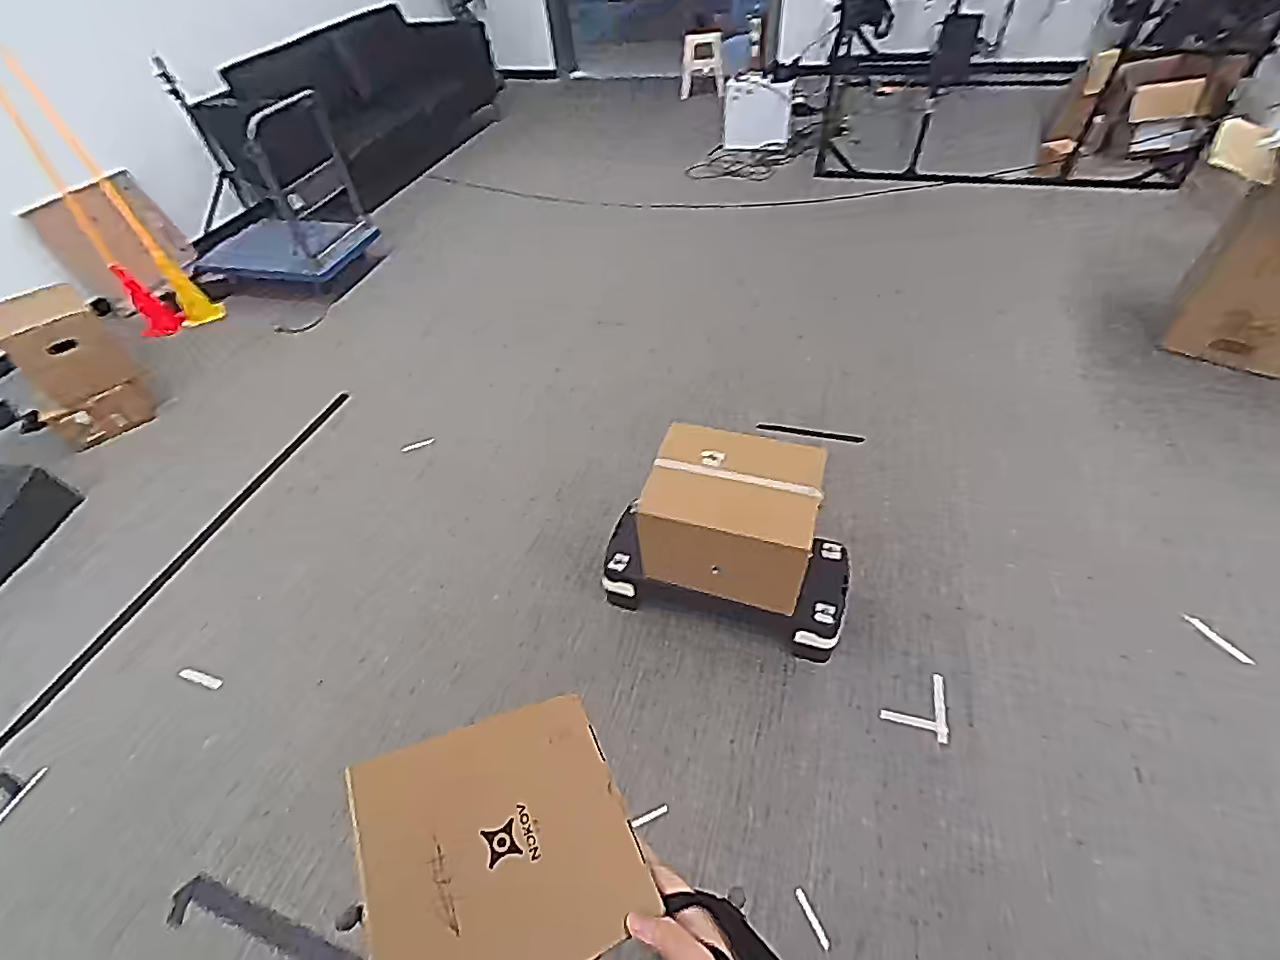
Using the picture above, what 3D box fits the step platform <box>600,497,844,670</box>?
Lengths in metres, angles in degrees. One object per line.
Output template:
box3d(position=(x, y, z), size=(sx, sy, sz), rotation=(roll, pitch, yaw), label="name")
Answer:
box3d(position=(0.228, 0.277, 1.568), size=(0.684, 0.204, 0.286), rotation=(15, 52, 20), label="step platform")

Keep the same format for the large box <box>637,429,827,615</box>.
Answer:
box3d(position=(0.243, 0.106, 1.398), size=(0.408, 0.320, 0.320), rotation=(11, 50, 17), label="large box")
